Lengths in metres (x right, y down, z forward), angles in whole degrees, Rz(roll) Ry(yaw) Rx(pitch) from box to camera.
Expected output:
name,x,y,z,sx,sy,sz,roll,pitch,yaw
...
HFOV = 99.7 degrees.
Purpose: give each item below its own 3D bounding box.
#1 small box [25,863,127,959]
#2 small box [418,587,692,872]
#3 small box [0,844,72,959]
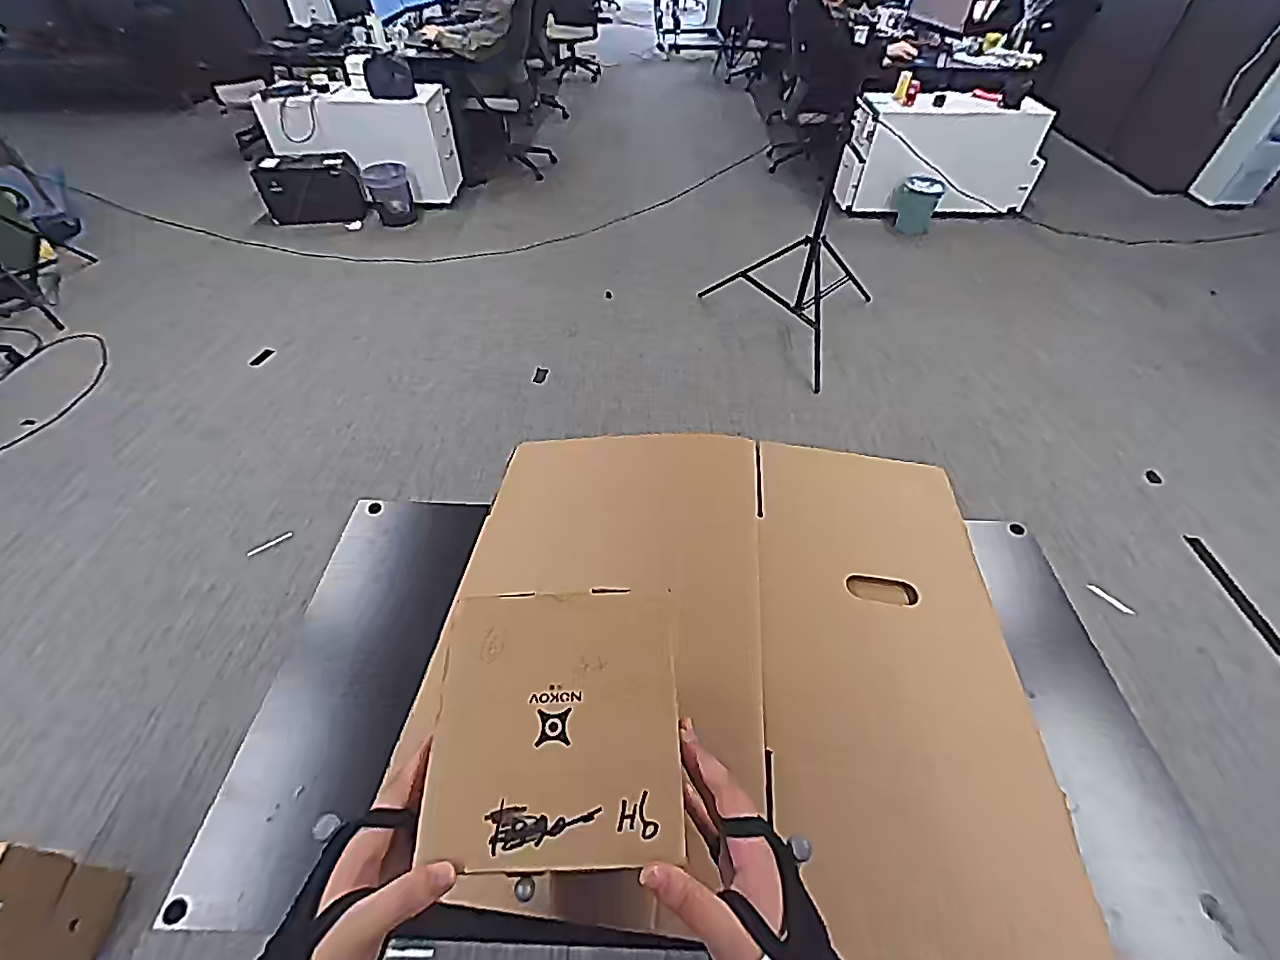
name,x,y,z,sx,sy,sz,roll,pitch,yaw
small box,-1.201,0.889,1.085,0.168,0.176,0.179,-2,49,-2
small box,-0.048,0.202,0.431,0.168,0.176,0.179,-4,55,3
small box,-1.201,0.776,0.968,0.168,0.176,0.179,-3,47,-5
